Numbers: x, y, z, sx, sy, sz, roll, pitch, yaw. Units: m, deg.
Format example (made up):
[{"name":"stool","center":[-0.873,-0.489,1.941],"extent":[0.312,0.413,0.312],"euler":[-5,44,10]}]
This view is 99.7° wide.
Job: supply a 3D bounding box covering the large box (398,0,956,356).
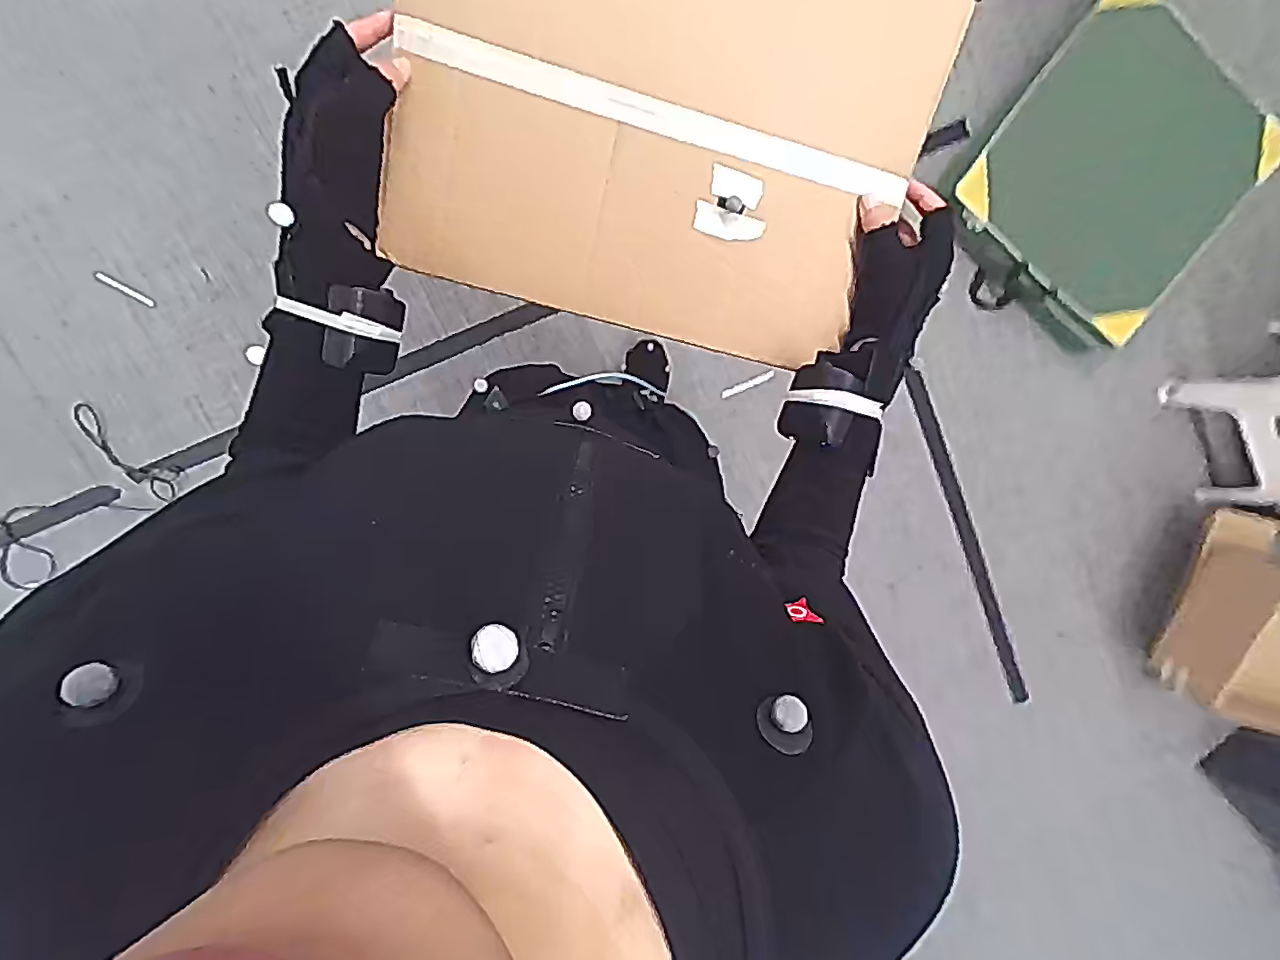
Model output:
[{"name":"large box","center":[0.010,-0.343,0.567],"extent":[0.408,0.320,0.320],"euler":[12,110,-9]}]
